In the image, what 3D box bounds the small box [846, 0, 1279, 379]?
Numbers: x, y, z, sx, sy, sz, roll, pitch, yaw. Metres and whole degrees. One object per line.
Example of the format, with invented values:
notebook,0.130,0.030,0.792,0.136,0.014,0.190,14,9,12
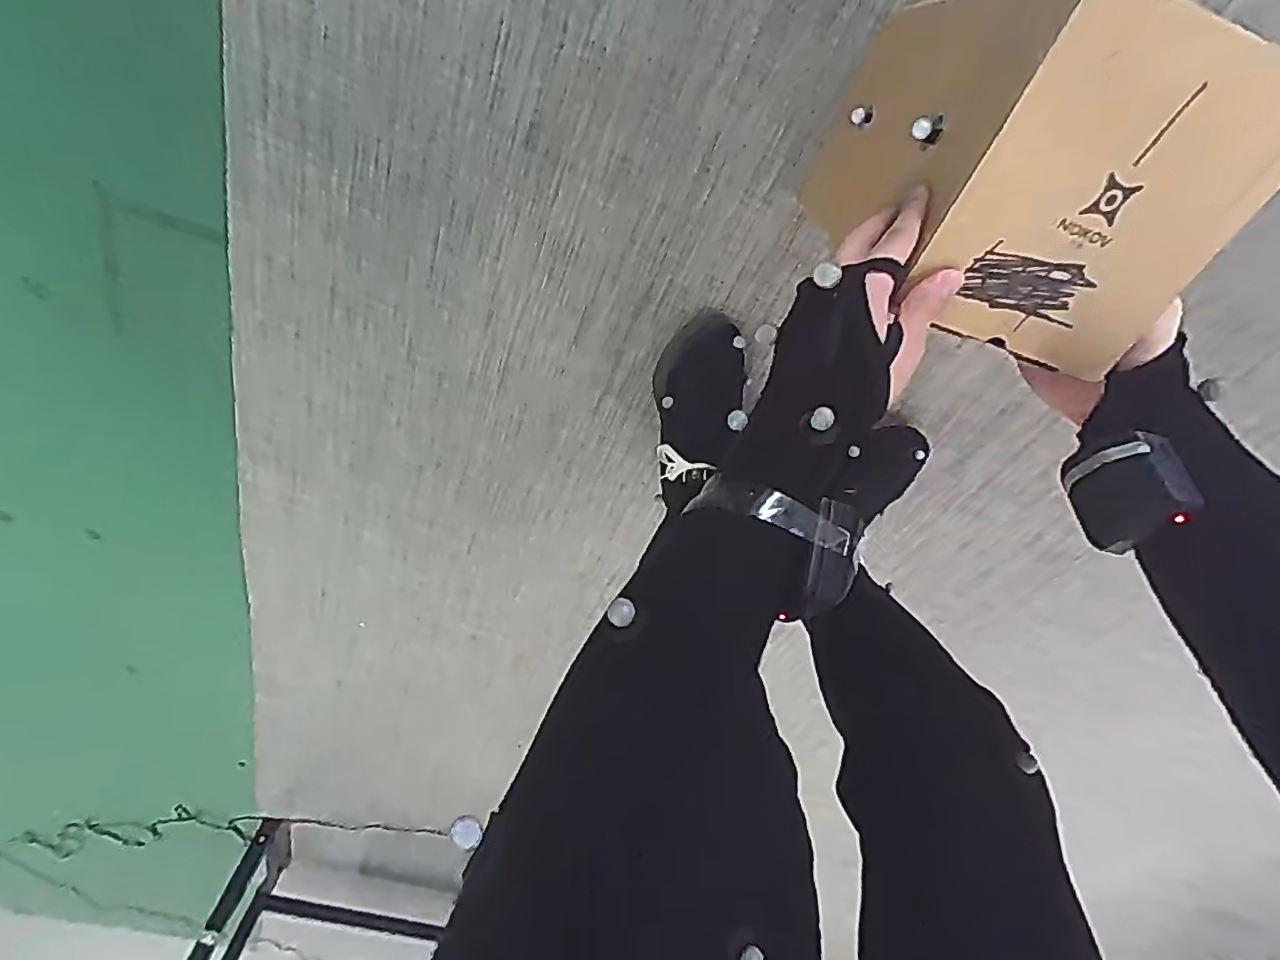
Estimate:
small box,0.269,-0.204,0.381,0.168,0.176,0.179,16,125,-9
